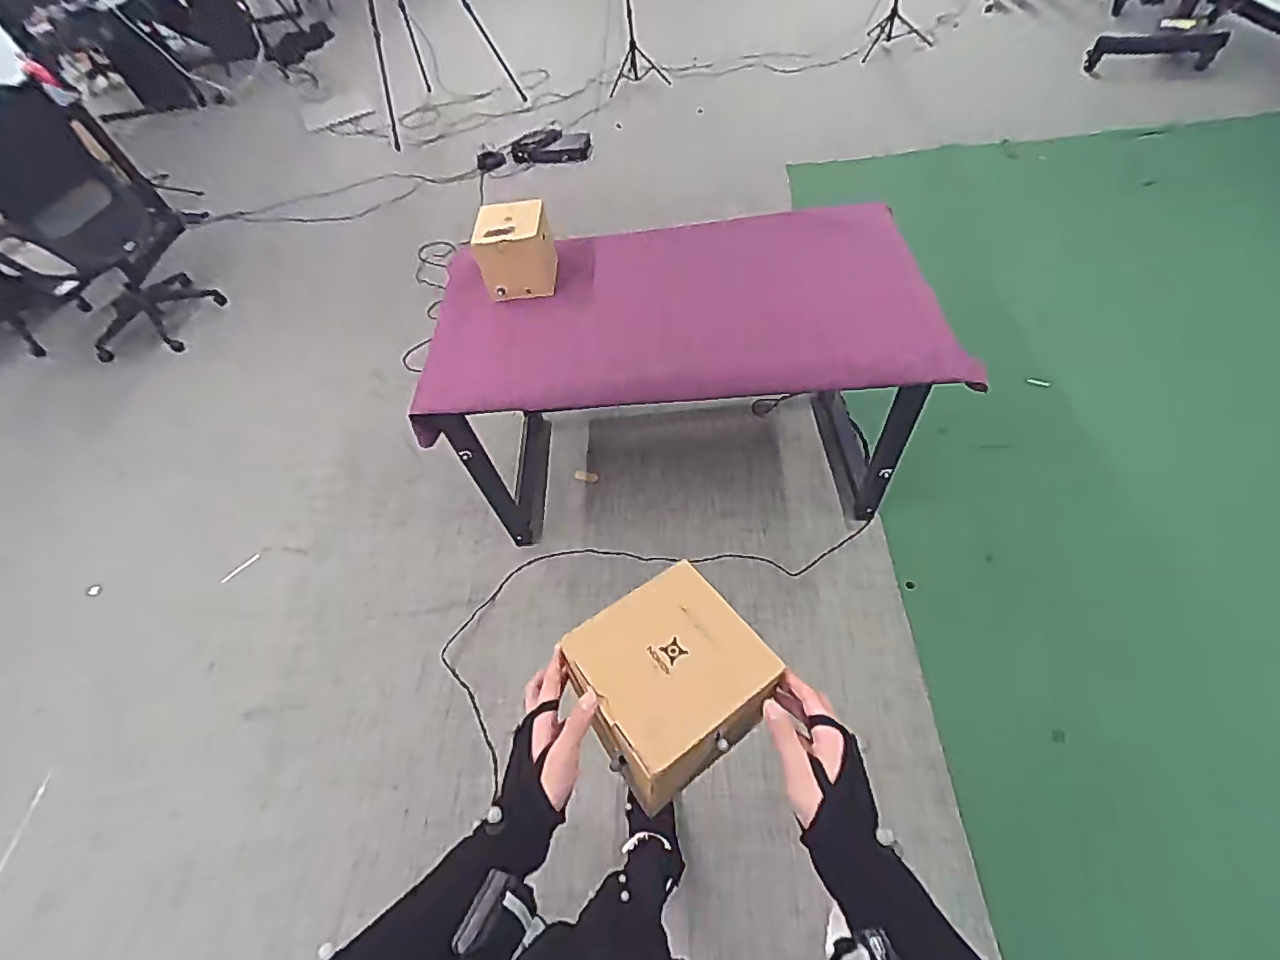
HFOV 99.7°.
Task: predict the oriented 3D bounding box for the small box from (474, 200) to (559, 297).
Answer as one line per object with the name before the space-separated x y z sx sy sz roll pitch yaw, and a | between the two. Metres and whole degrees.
small box | -0.312 -0.594 1.407 0.168 0.176 0.179 -4 55 5
